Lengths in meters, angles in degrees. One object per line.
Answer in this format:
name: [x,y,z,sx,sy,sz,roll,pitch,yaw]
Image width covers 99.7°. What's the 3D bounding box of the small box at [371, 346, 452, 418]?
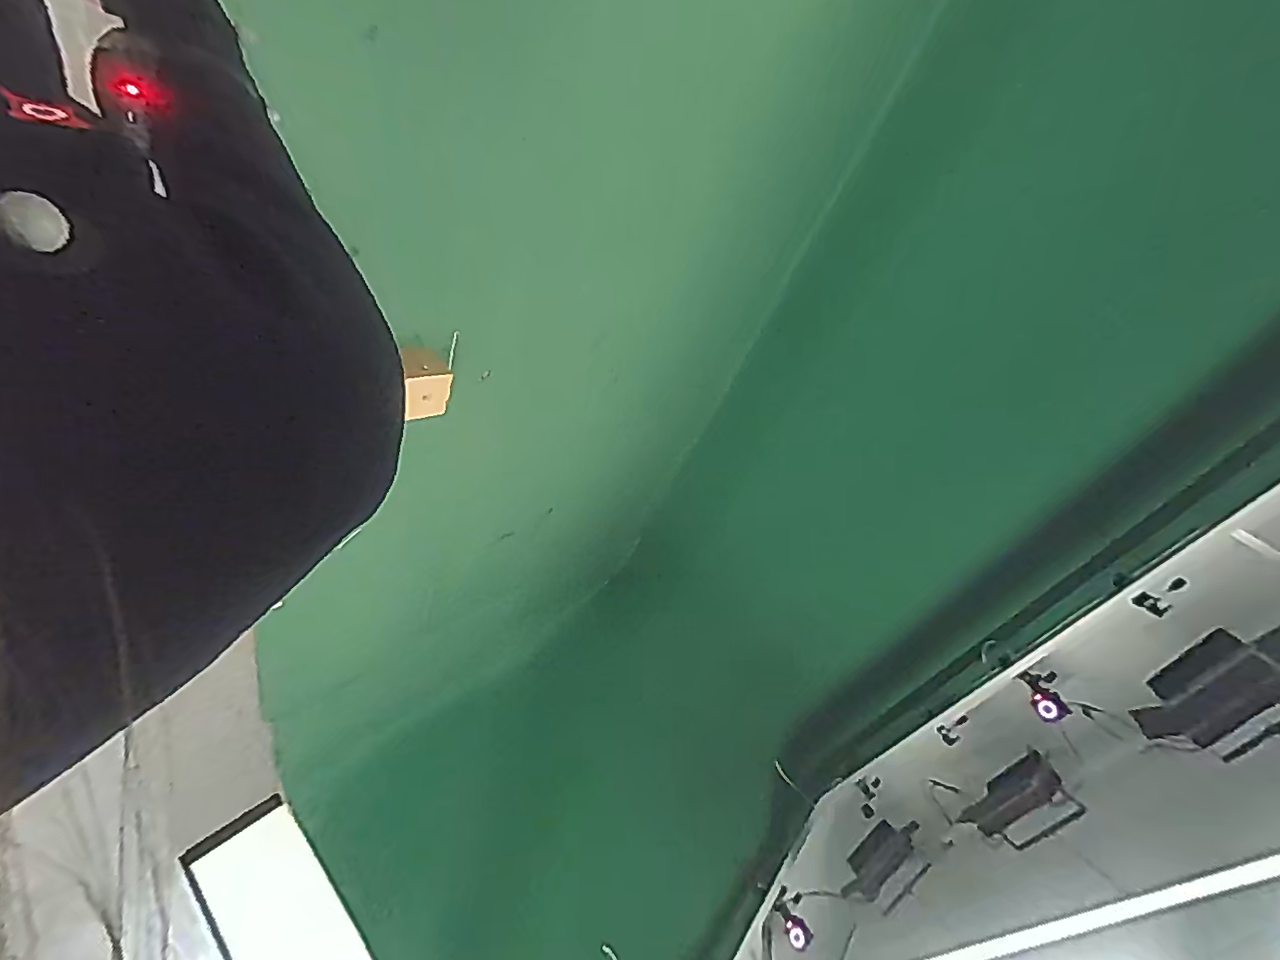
small box: [-0.755,-0.330,1.783,0.179,0.176,0.168,-21,146,-48]
